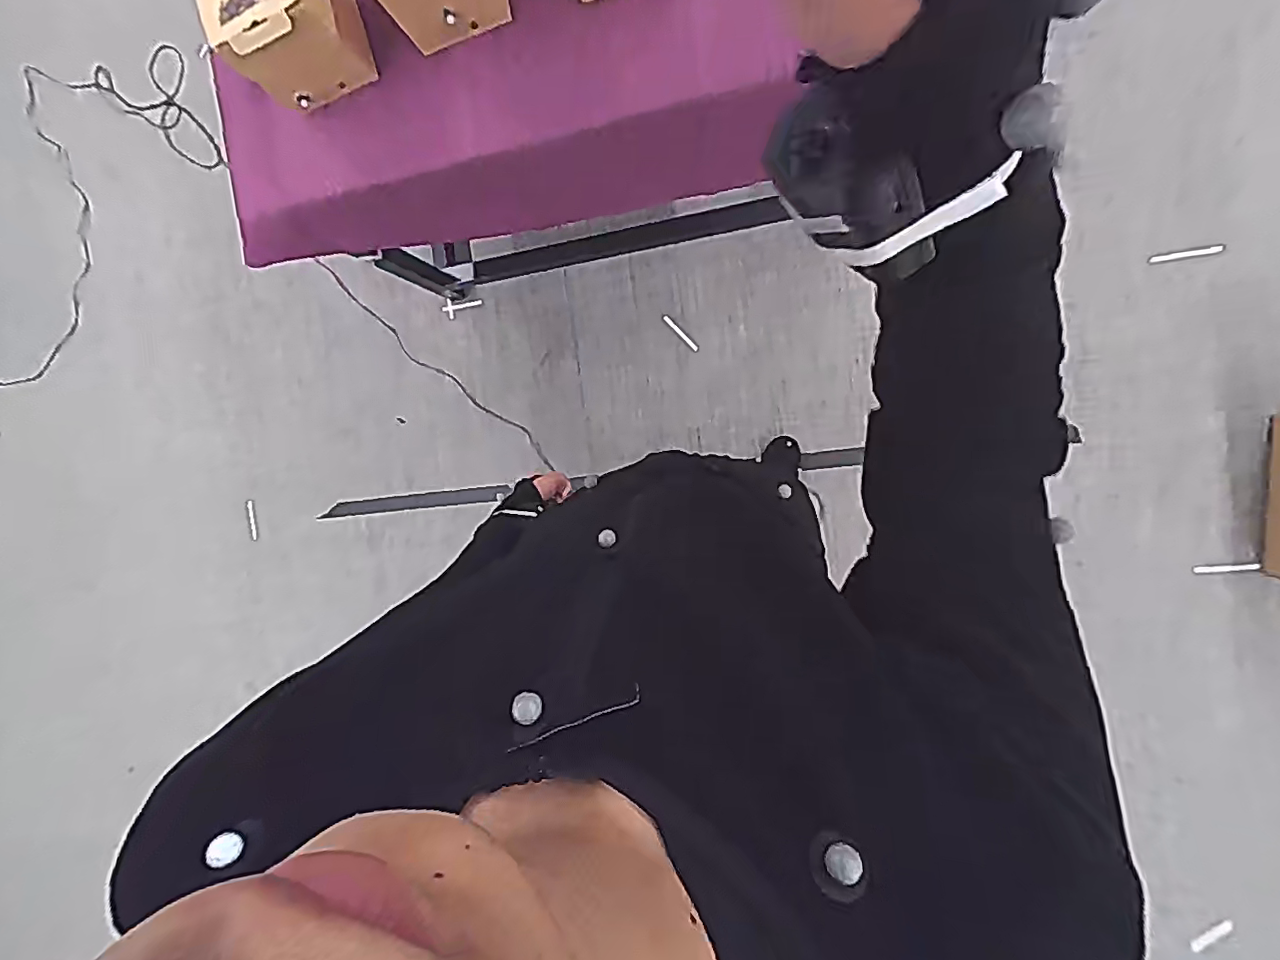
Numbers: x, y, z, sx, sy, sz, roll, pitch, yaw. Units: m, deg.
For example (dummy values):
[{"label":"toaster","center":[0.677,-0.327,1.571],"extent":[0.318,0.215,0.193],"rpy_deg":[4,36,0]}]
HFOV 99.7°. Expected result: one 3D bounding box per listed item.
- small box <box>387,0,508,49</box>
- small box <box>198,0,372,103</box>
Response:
[{"label":"small box","center":[-0.319,-0.809,0.807],"extent":[0.168,0.176,0.179],"rpy_deg":[-12,93,12]},{"label":"small box","center":[-0.562,-0.745,0.859],"extent":[0.168,0.176,0.179],"rpy_deg":[-16,91,11]}]
